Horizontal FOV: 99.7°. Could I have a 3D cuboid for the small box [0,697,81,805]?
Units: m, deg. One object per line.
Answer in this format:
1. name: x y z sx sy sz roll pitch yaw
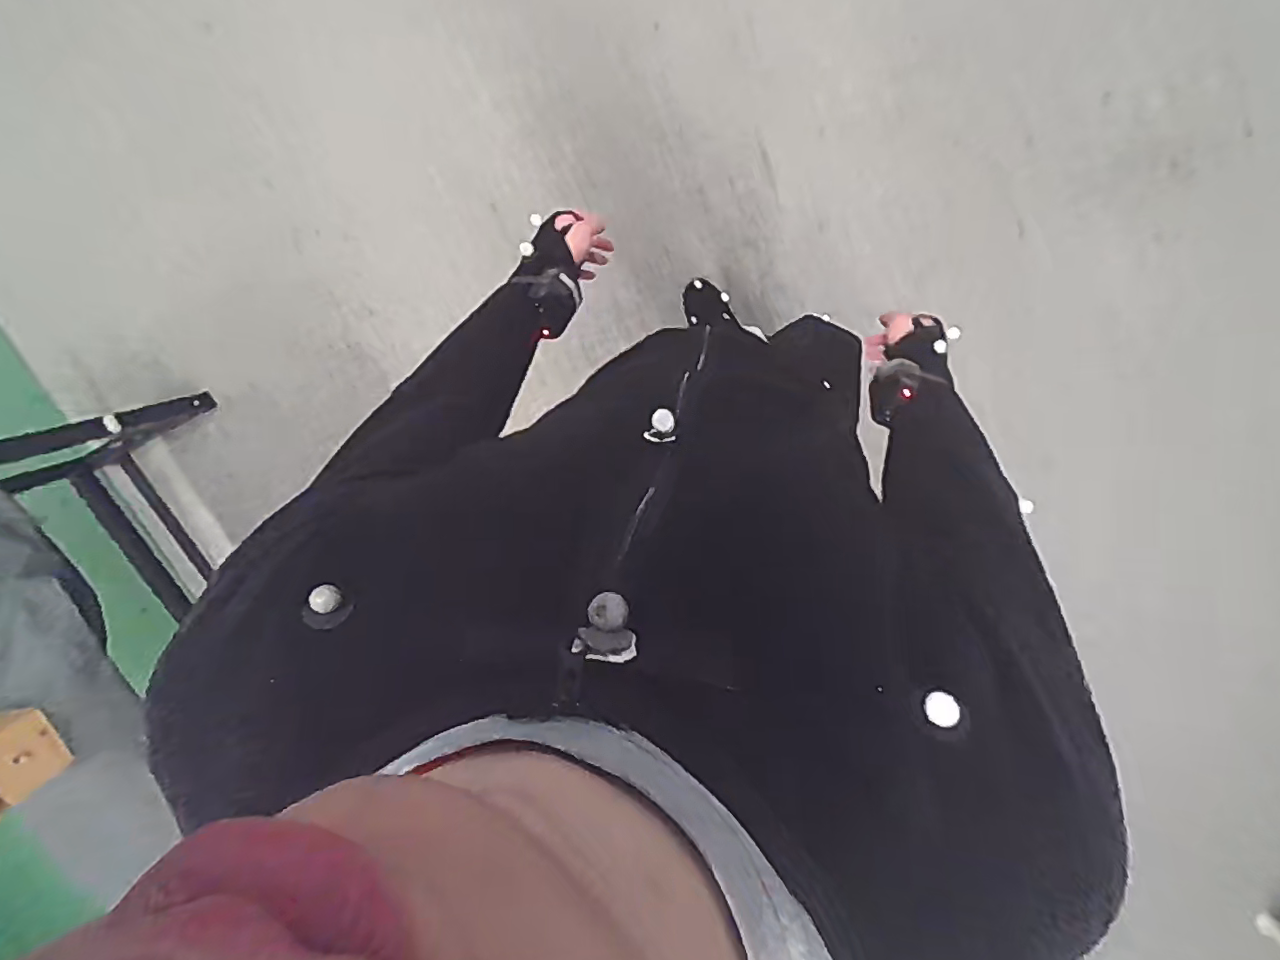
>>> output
1. small box: -1.490 0.634 1.273 0.179 0.176 0.168 -9 109 13
